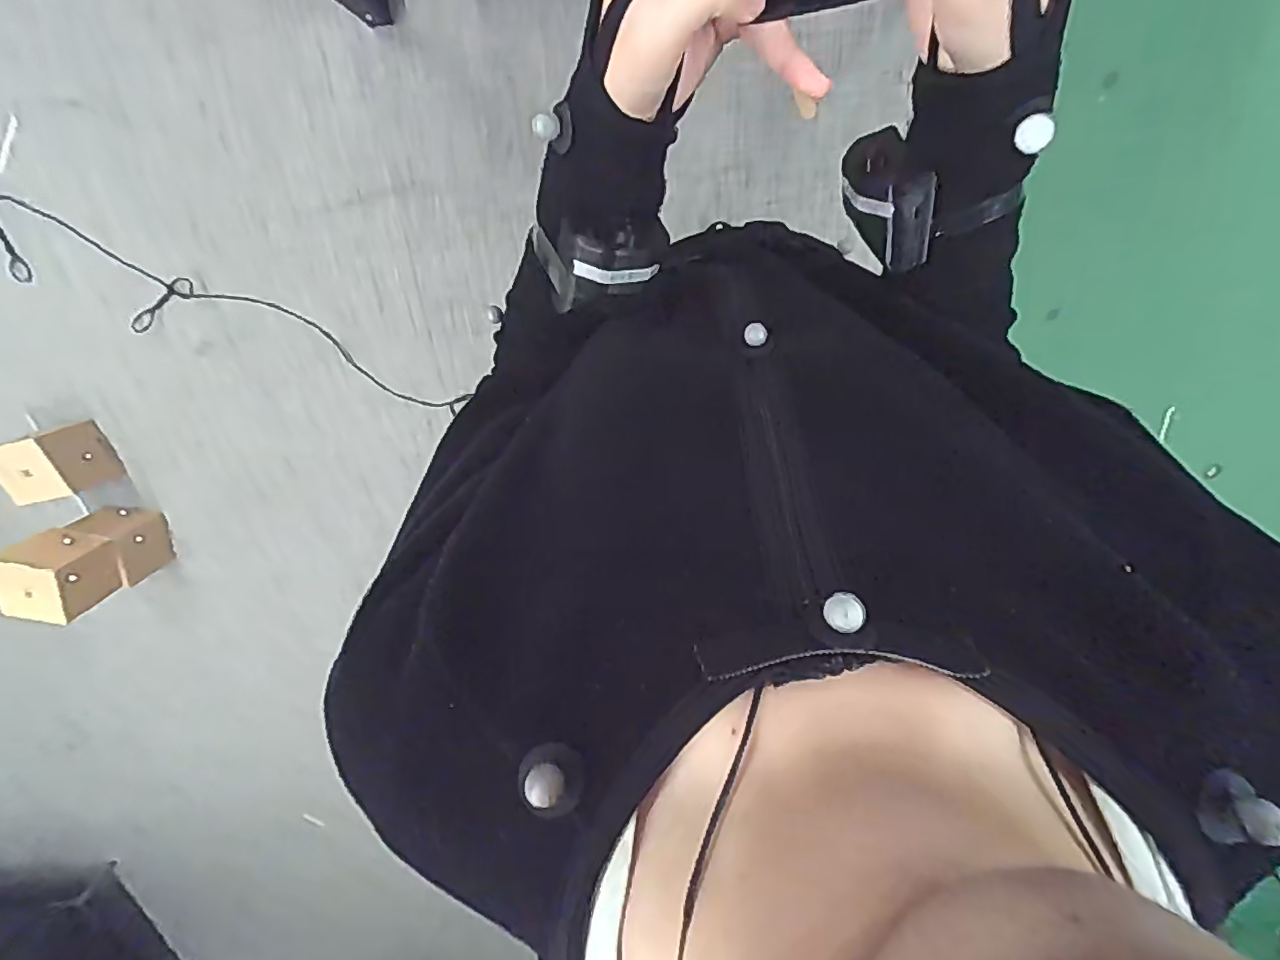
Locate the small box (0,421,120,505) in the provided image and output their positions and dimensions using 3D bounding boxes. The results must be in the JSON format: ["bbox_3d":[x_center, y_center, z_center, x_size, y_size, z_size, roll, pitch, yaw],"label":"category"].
[{"bbox_3d":[-1.602,-0.053,1.488,0.179,0.176,0.168,-10,113,6],"label":"small box"}]

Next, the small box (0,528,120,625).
[{"bbox_3d":[-1.555,0.254,1.449,0.168,0.176,0.179,12,112,-4],"label":"small box"}]
